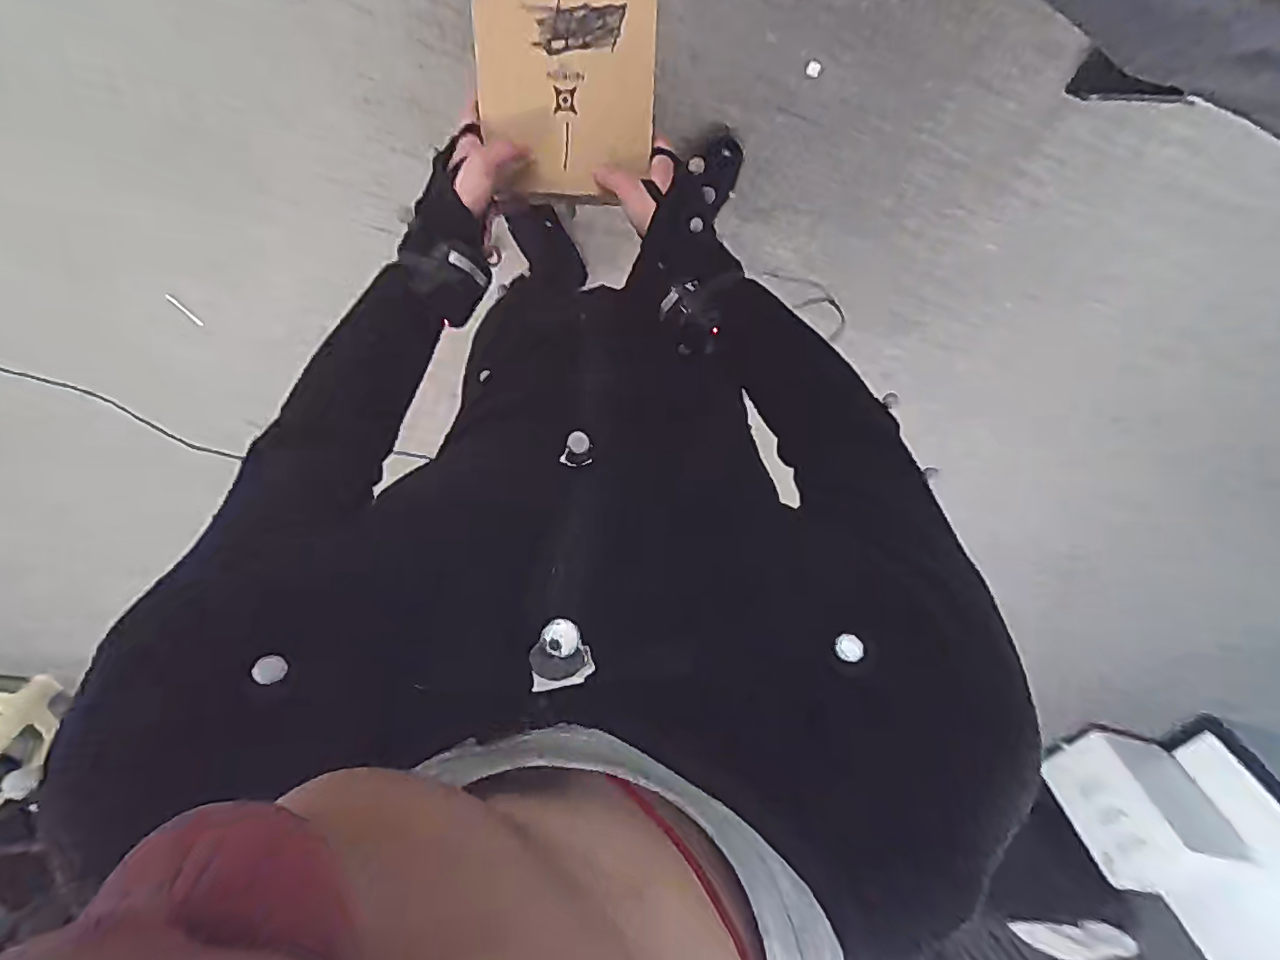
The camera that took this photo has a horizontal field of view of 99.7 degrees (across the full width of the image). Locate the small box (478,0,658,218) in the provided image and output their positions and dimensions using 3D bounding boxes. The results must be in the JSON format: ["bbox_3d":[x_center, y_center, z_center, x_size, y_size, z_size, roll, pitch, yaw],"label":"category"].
[{"bbox_3d":[-0.072,-0.393,0.592,0.168,0.176,0.179,2,114,-2],"label":"small box"}]
